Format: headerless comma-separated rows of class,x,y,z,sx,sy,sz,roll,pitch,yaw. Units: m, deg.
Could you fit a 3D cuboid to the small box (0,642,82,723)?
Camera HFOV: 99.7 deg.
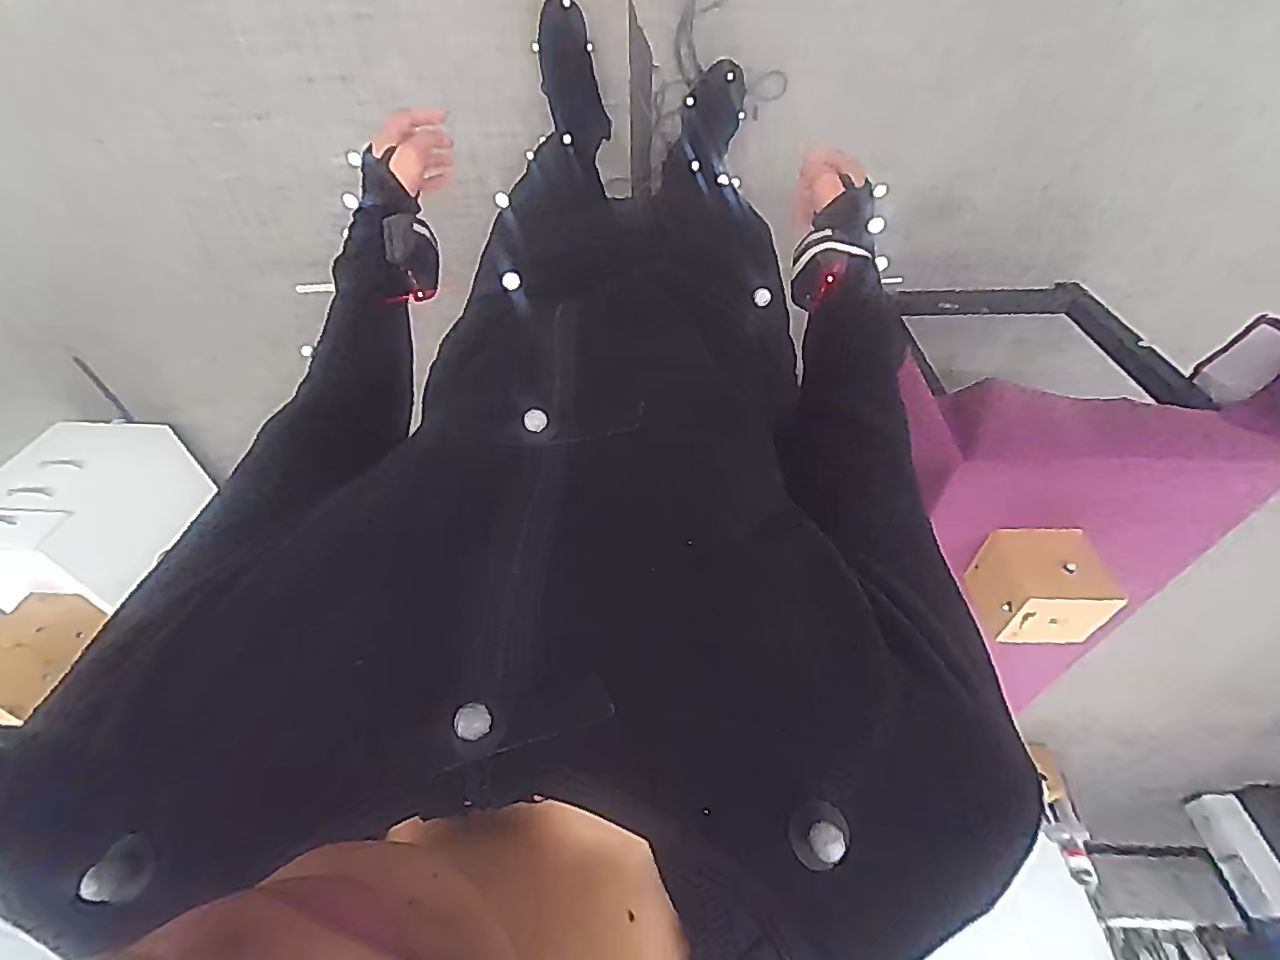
small box,-1.815,0.585,1.572,0.179,0.176,0.168,4,137,0

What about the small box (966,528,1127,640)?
small box,0.813,0.210,1.104,0.179,0.176,0.168,-1,135,3
